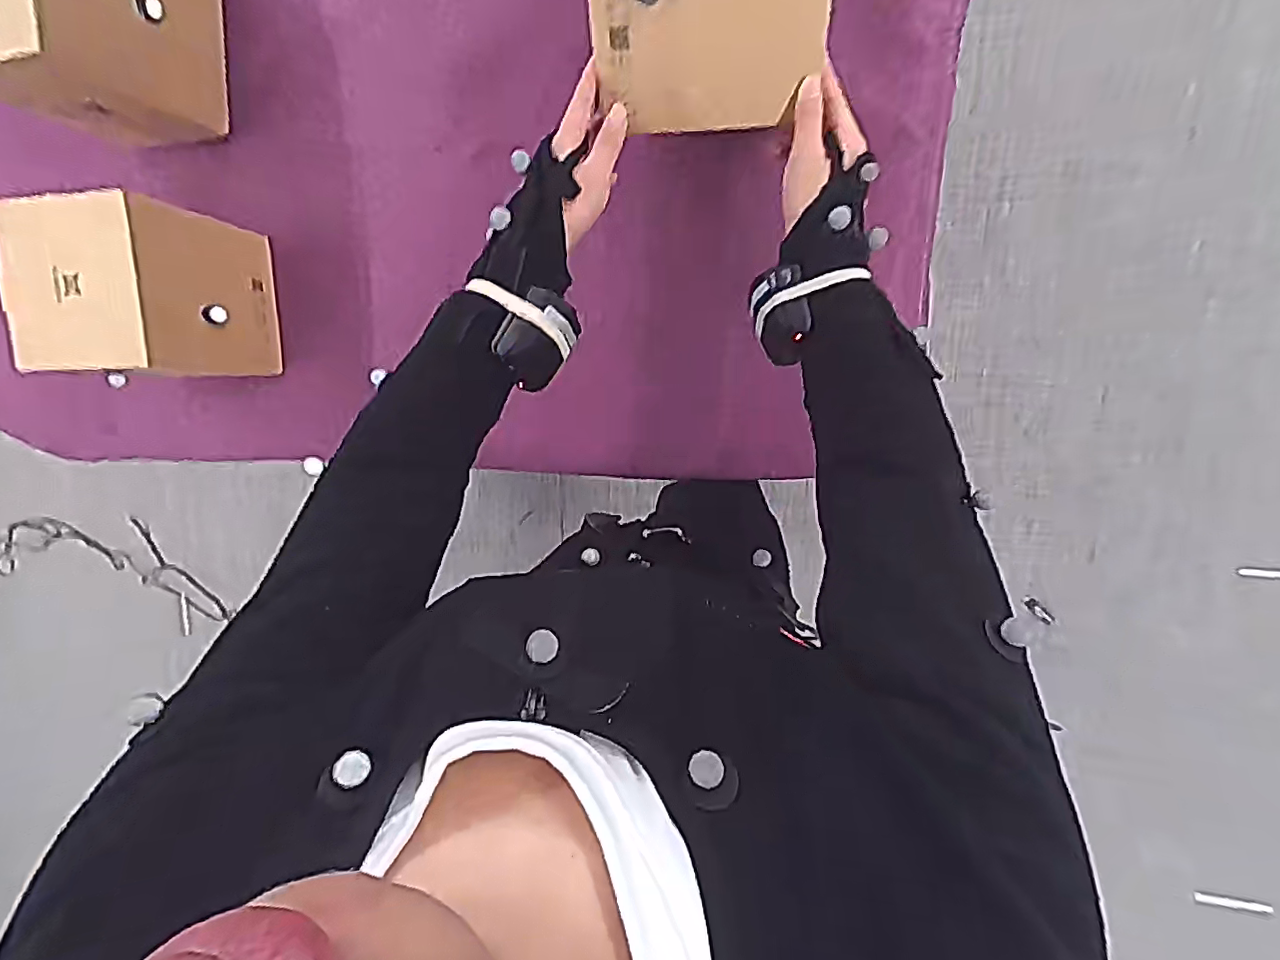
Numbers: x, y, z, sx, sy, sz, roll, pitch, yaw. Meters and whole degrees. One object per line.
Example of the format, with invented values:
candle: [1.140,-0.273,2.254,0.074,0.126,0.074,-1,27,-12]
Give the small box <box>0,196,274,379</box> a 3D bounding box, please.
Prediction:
small box: [-0.550,-0.202,0.610,0.179,0.176,0.168,1,99,11]

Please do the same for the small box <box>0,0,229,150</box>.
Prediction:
small box: [-0.573,-0.471,0.557,0.179,0.168,0.176,7,99,17]
